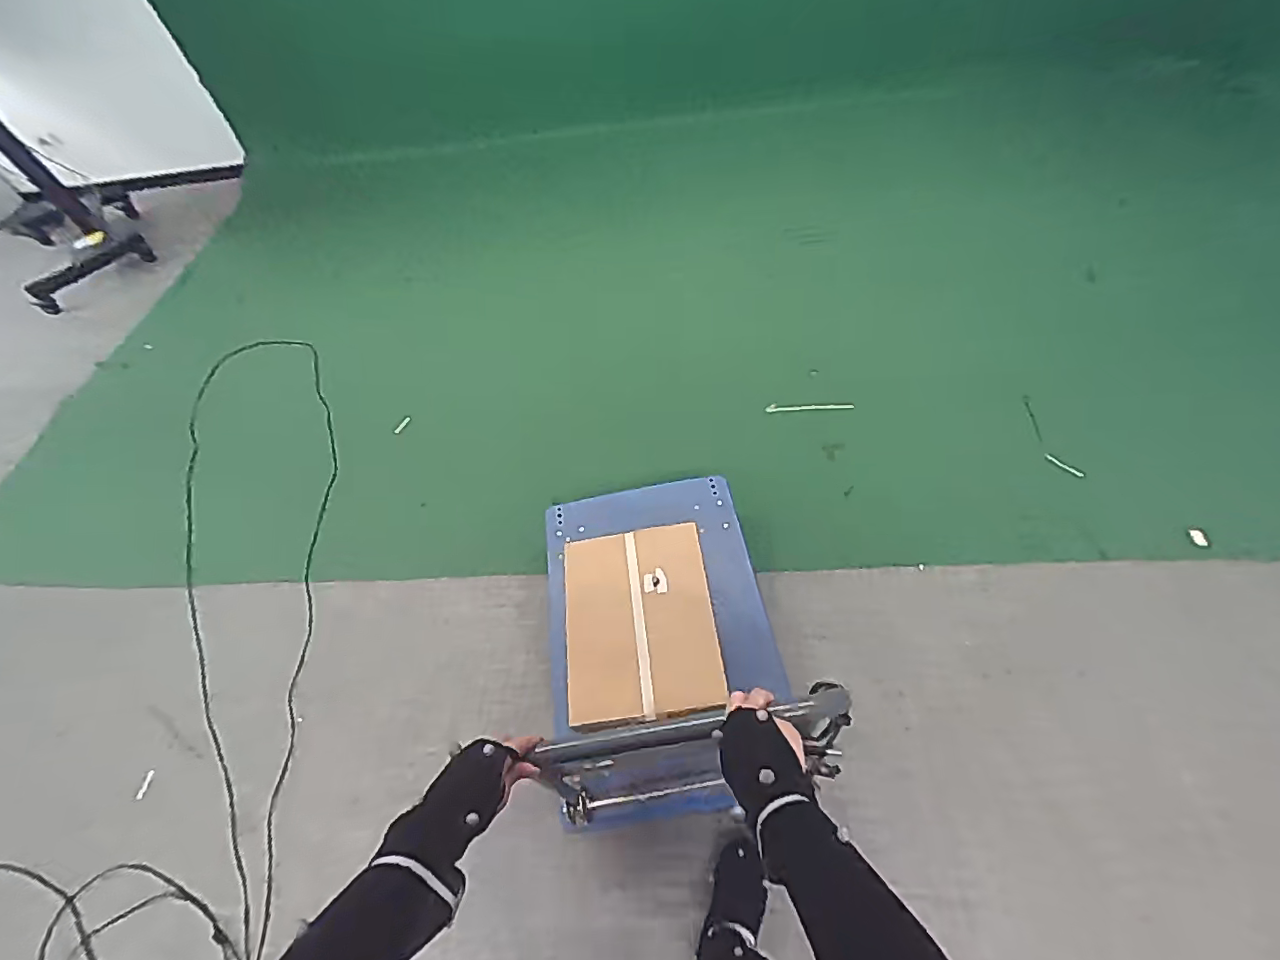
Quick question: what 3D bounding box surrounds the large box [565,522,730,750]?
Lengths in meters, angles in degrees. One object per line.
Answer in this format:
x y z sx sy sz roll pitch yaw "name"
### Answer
0.018 0.365 1.253 0.320 0.320 0.408 -9 54 2 "large box"
